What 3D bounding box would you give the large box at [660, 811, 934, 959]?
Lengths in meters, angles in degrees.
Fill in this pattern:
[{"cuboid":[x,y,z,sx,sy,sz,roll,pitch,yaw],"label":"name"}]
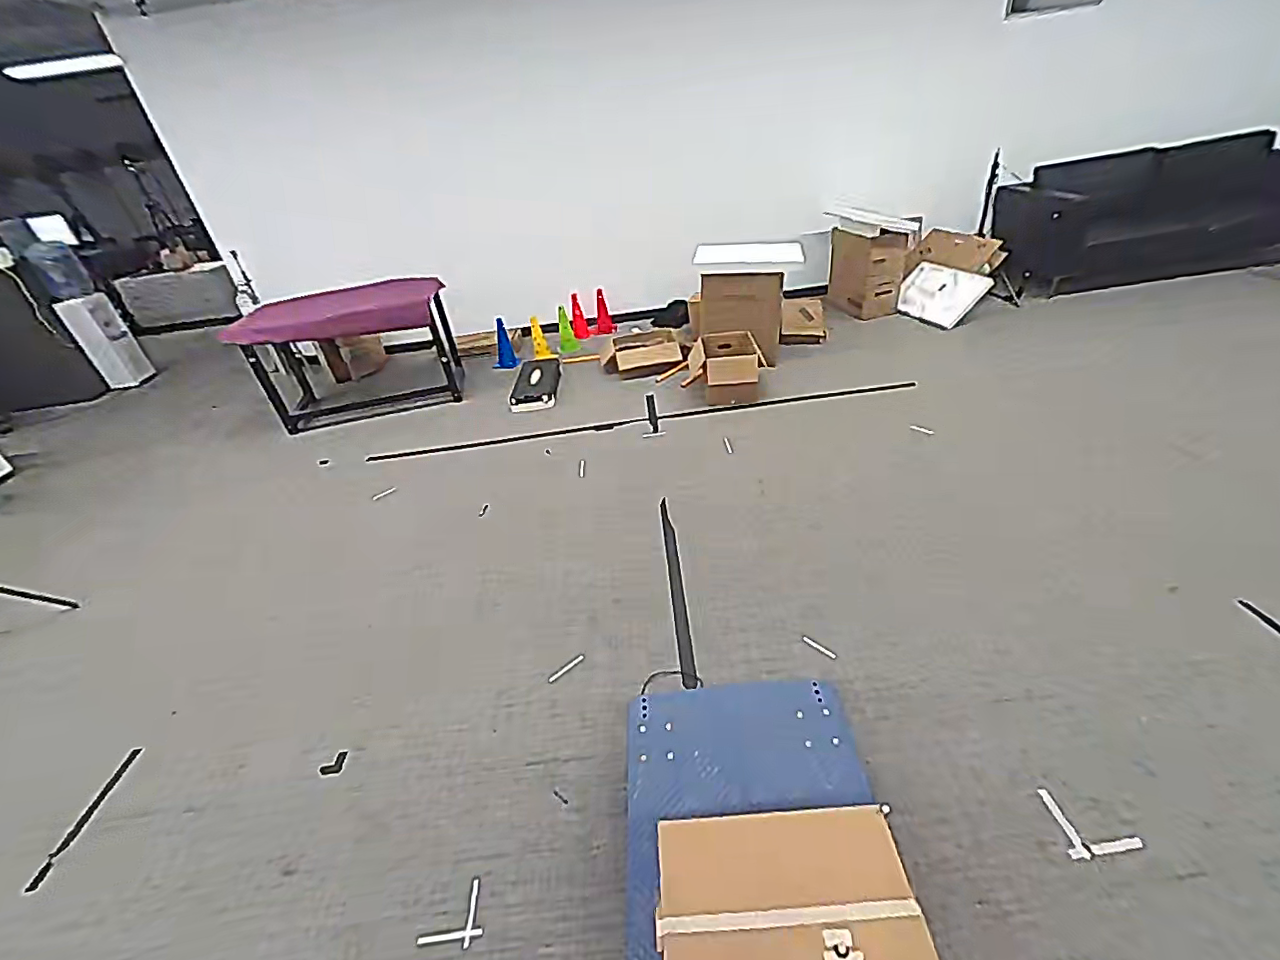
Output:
[{"cuboid":[0.252,0.825,0.936,0.408,0.320,0.320,-5,34,2],"label":"large box"}]
